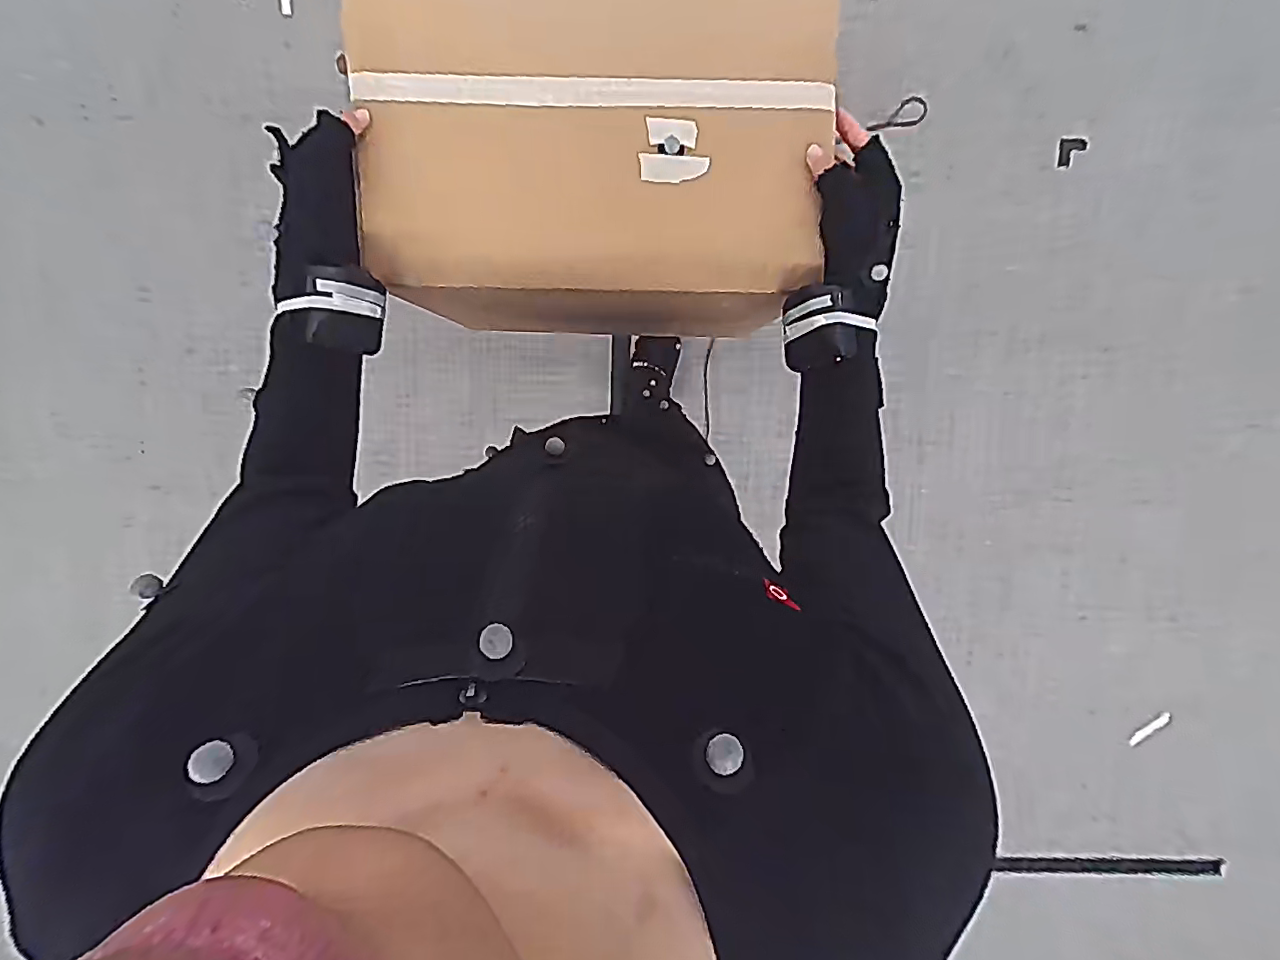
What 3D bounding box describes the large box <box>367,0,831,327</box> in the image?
[{"bbox_3d":[-0.039,-0.355,0.618,0.408,0.320,0.320,1,99,-2],"label":"large box"}]
